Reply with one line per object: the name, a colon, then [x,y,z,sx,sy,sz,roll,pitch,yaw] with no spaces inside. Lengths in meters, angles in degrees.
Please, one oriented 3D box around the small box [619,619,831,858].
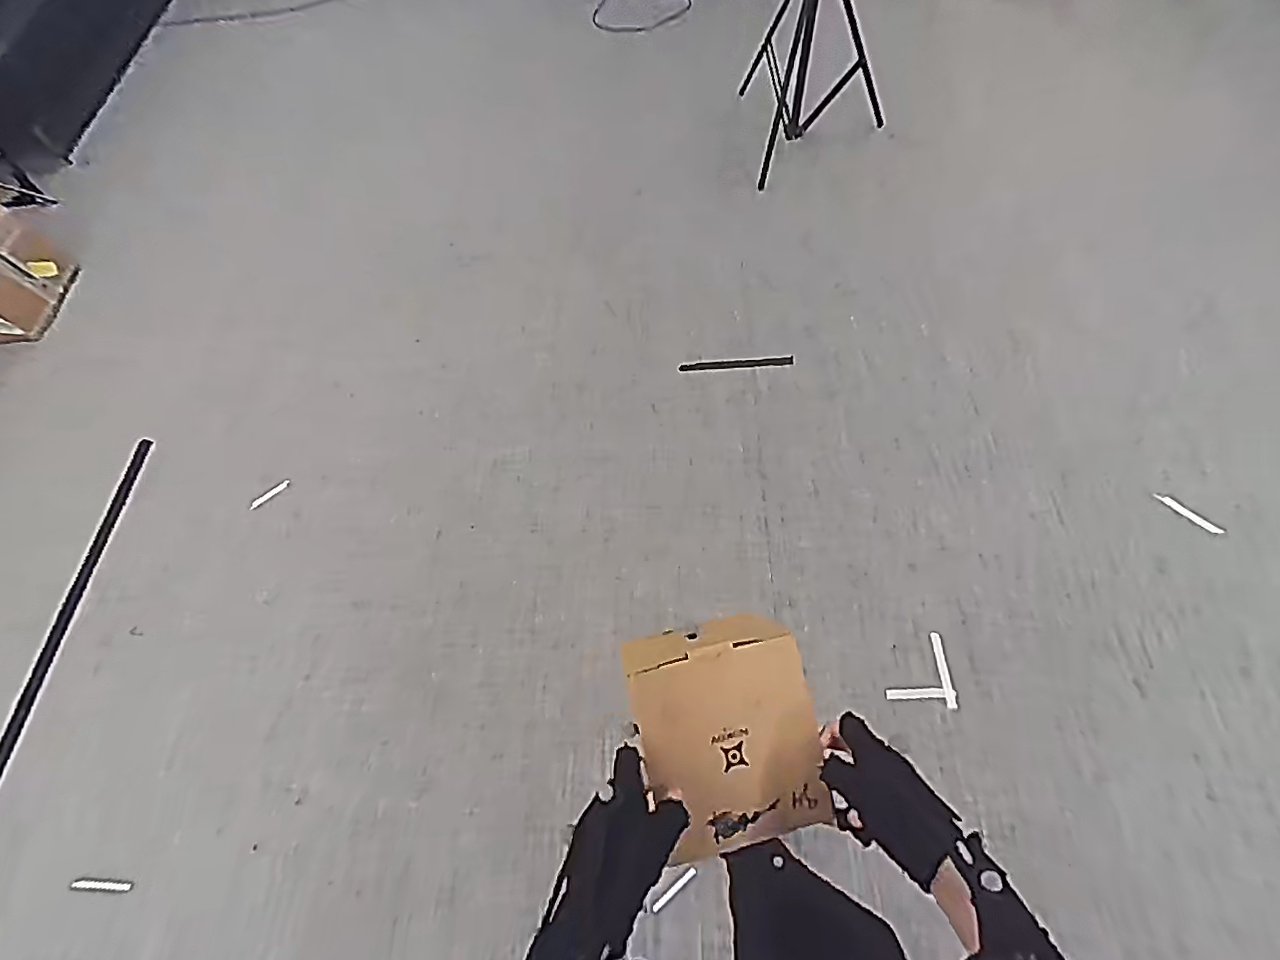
small box: [0.075,0.254,0.584,0.168,0.176,0.179,-11,83,-7]
